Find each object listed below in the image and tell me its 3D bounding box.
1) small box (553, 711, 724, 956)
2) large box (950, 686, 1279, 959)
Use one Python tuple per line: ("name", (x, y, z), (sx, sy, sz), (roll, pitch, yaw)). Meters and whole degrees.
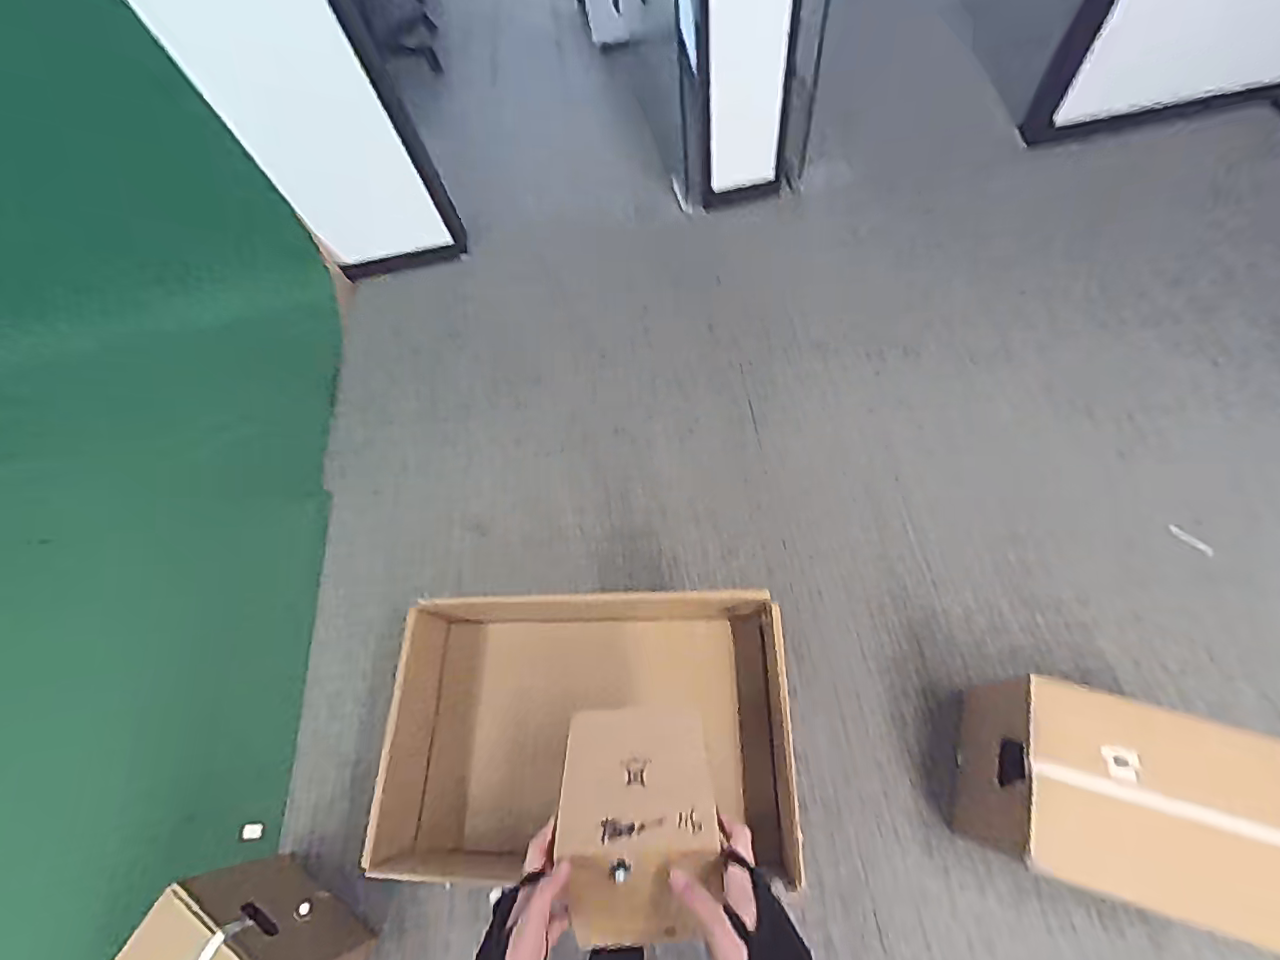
("small box", (0.004, 0.399, 0.625), (0.168, 0.176, 0.179), (-5, 25, 3))
("large box", (0.864, 0.610, 1.015), (0.408, 0.320, 0.320), (13, 66, 14))
